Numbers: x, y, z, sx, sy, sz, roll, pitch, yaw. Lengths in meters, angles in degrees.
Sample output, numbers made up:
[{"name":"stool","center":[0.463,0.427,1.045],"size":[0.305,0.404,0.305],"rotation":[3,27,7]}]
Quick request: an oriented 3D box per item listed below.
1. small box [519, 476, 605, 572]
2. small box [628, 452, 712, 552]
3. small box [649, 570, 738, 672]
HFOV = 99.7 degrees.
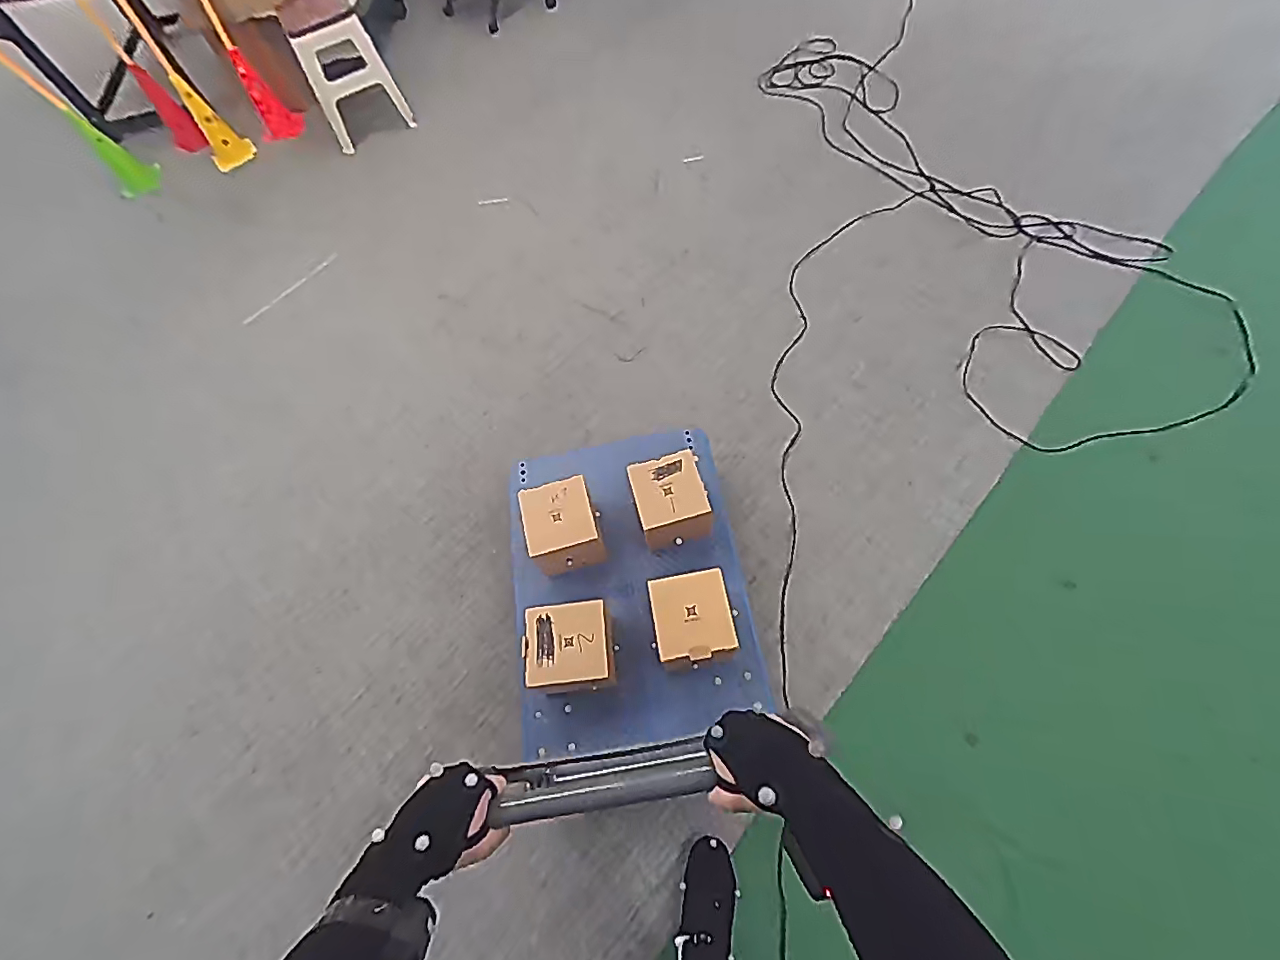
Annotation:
[{"name":"small box","center":[-0.189,0.119,1.348],"size":[0.168,0.176,0.179],"rotation":[-15,63,-2]},{"name":"small box","center":[0.074,0.058,1.351],"size":[0.168,0.176,0.179],"rotation":[-15,64,-1]},{"name":"small box","center":[0.116,0.322,1.221],"size":[0.168,0.176,0.179],"rotation":[-10,64,1]}]
